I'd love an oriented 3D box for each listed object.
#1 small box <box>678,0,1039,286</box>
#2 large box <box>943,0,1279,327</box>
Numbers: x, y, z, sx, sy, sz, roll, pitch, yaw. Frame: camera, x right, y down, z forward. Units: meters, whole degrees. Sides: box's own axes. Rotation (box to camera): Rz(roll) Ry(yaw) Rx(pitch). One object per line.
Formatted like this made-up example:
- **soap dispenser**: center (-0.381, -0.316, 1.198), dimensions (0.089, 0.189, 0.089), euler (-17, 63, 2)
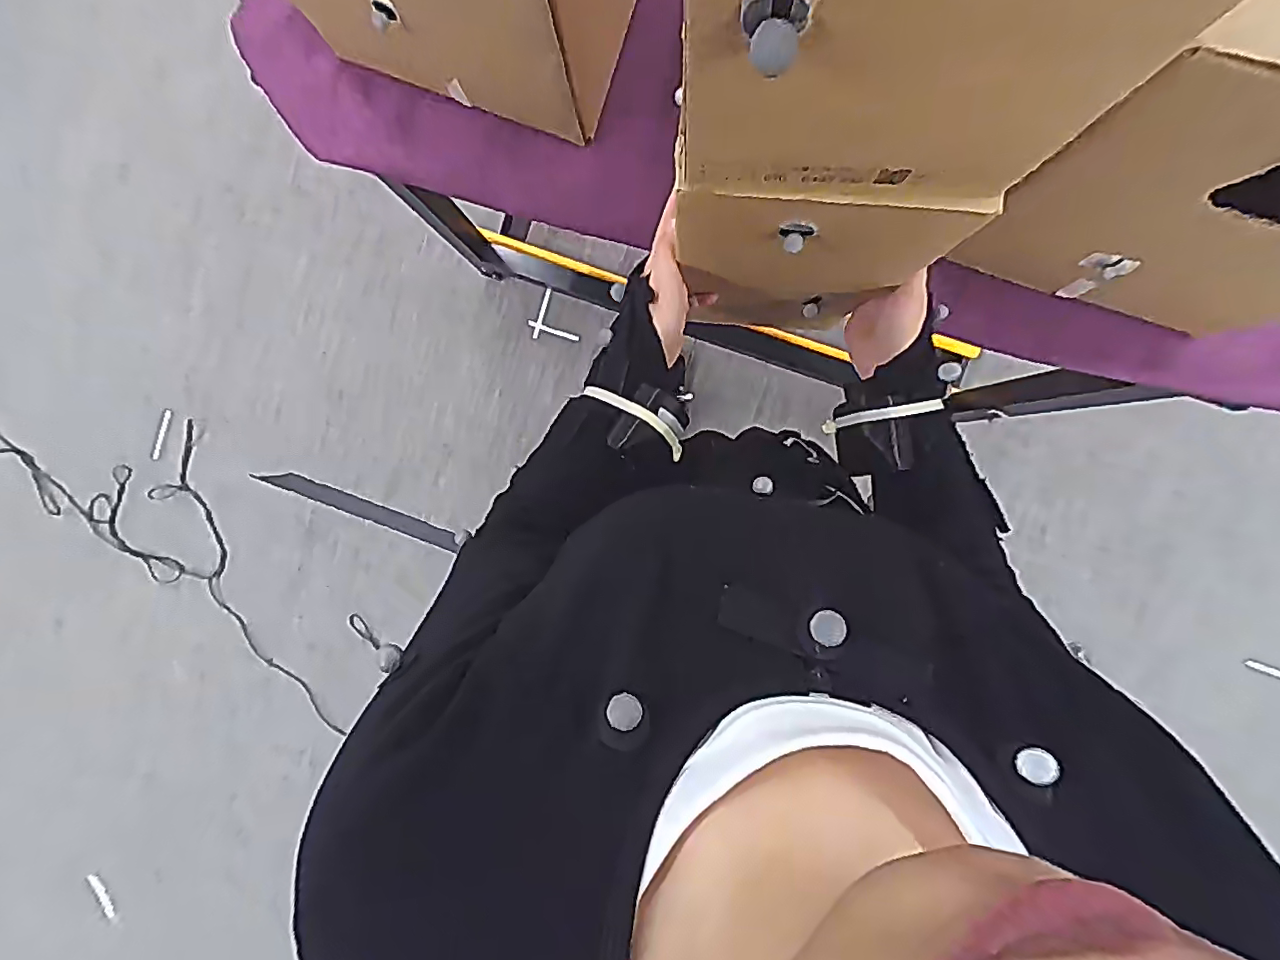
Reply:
- **small box**: center (0.119, -0.238, 0.358), dimensions (0.179, 0.176, 0.168), euler (5, 94, 3)
- **large box**: center (0.522, -0.389, 0.437), dimensions (0.320, 0.320, 0.408), euler (18, 92, 2)
